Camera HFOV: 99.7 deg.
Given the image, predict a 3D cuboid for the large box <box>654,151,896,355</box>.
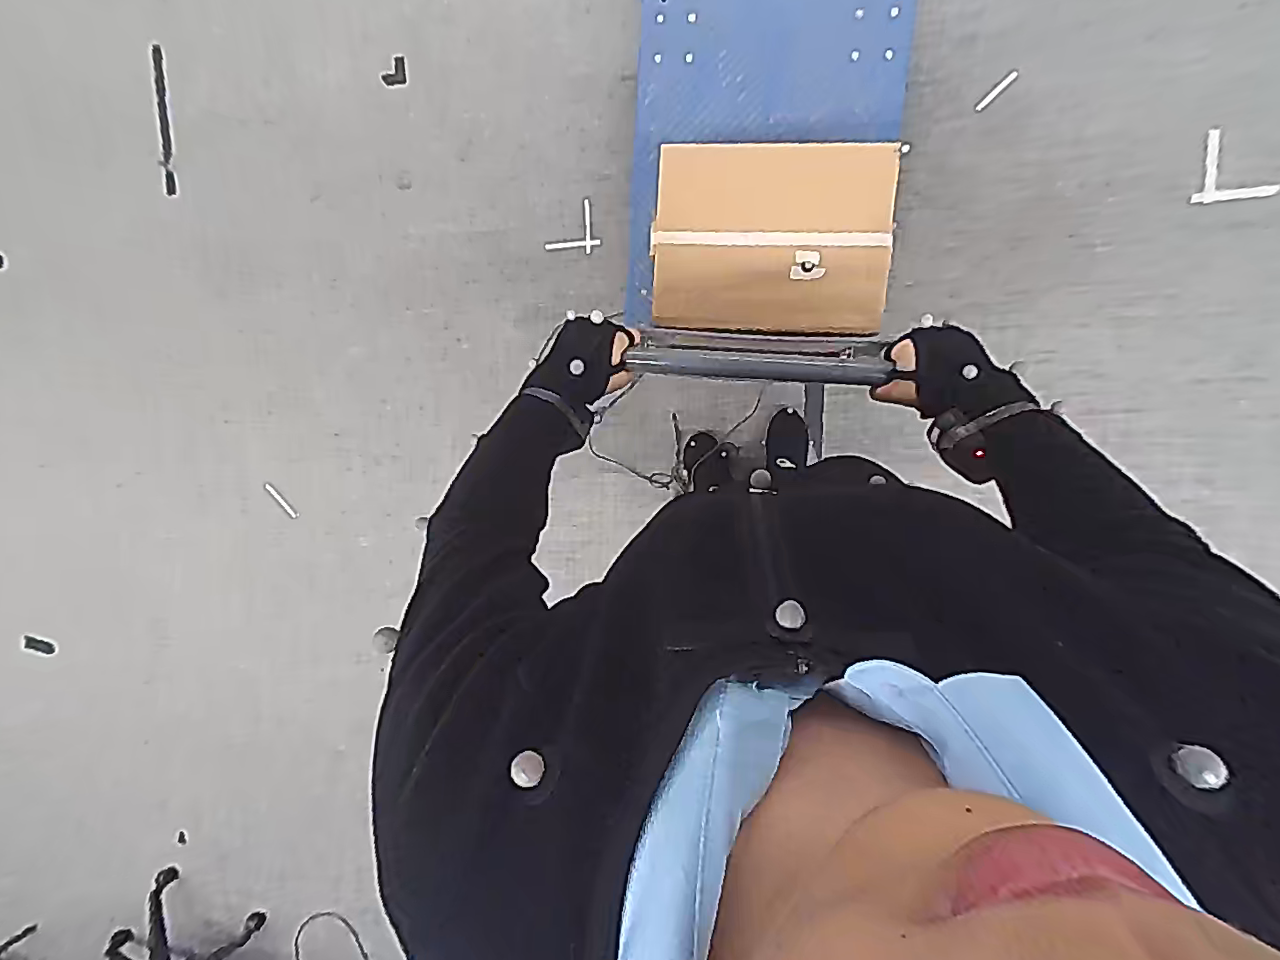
[{"bbox_3d":[0.241,-0.425,1.088,0.408,0.320,0.320,4,99,7],"label":"large box"}]
